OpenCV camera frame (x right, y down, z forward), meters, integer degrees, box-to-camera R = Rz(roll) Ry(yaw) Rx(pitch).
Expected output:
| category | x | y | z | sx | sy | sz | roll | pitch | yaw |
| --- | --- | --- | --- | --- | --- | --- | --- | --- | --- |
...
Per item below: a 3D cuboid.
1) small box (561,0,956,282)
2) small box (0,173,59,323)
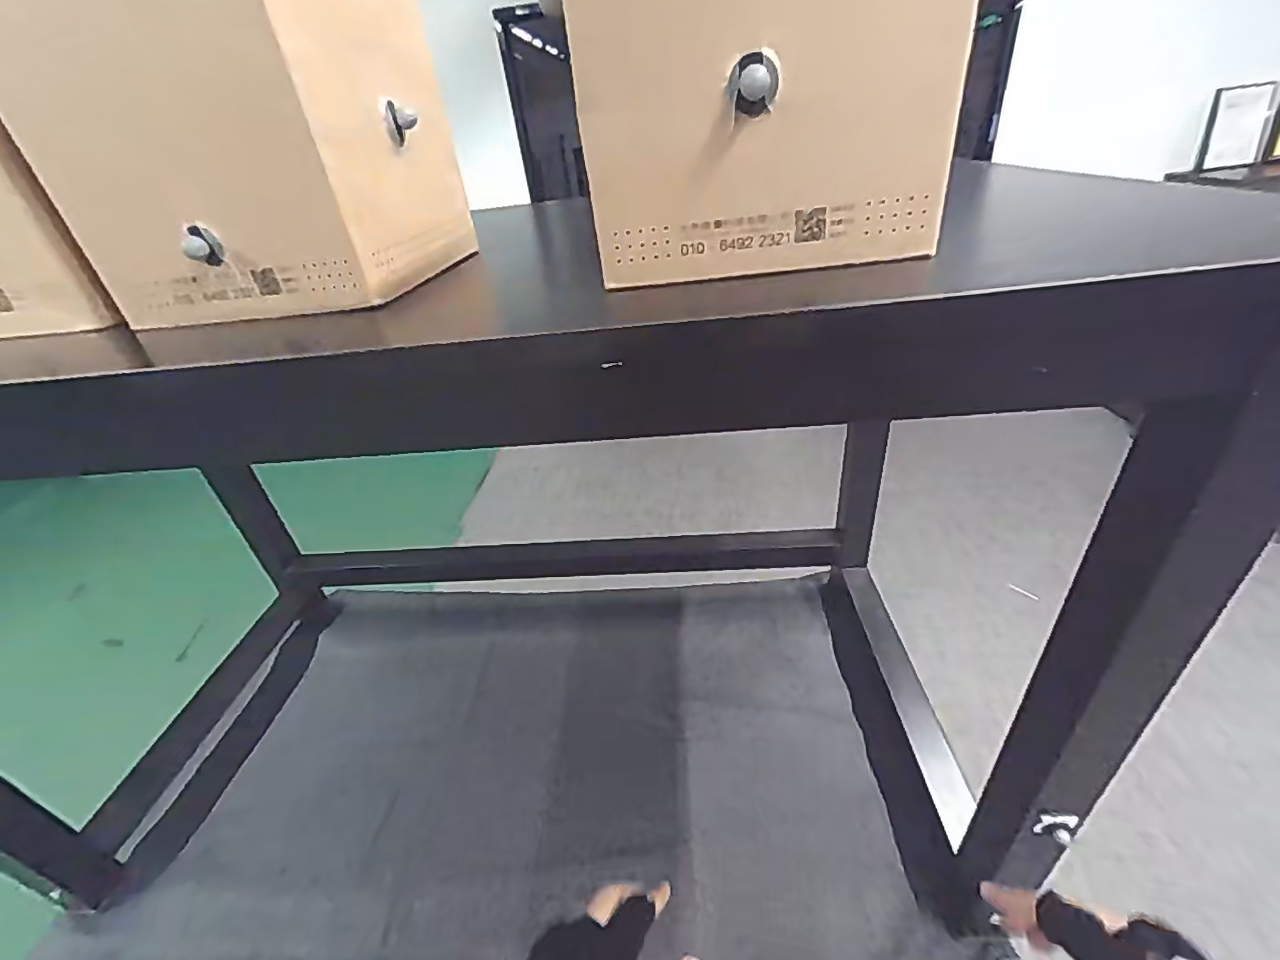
| category | x | y | z | sx | sy | sz | roll | pitch | yaw |
| --- | --- | --- | --- | --- | --- | --- | --- | --- | --- |
| small box | 0.059 | -0.215 | 0.302 | 0.168 | 0.176 | 0.179 | -3 | 33 | 7 |
| small box | -0.615 | -0.188 | 0.405 | 0.168 | 0.176 | 0.179 | -3 | 34 | 8 |
